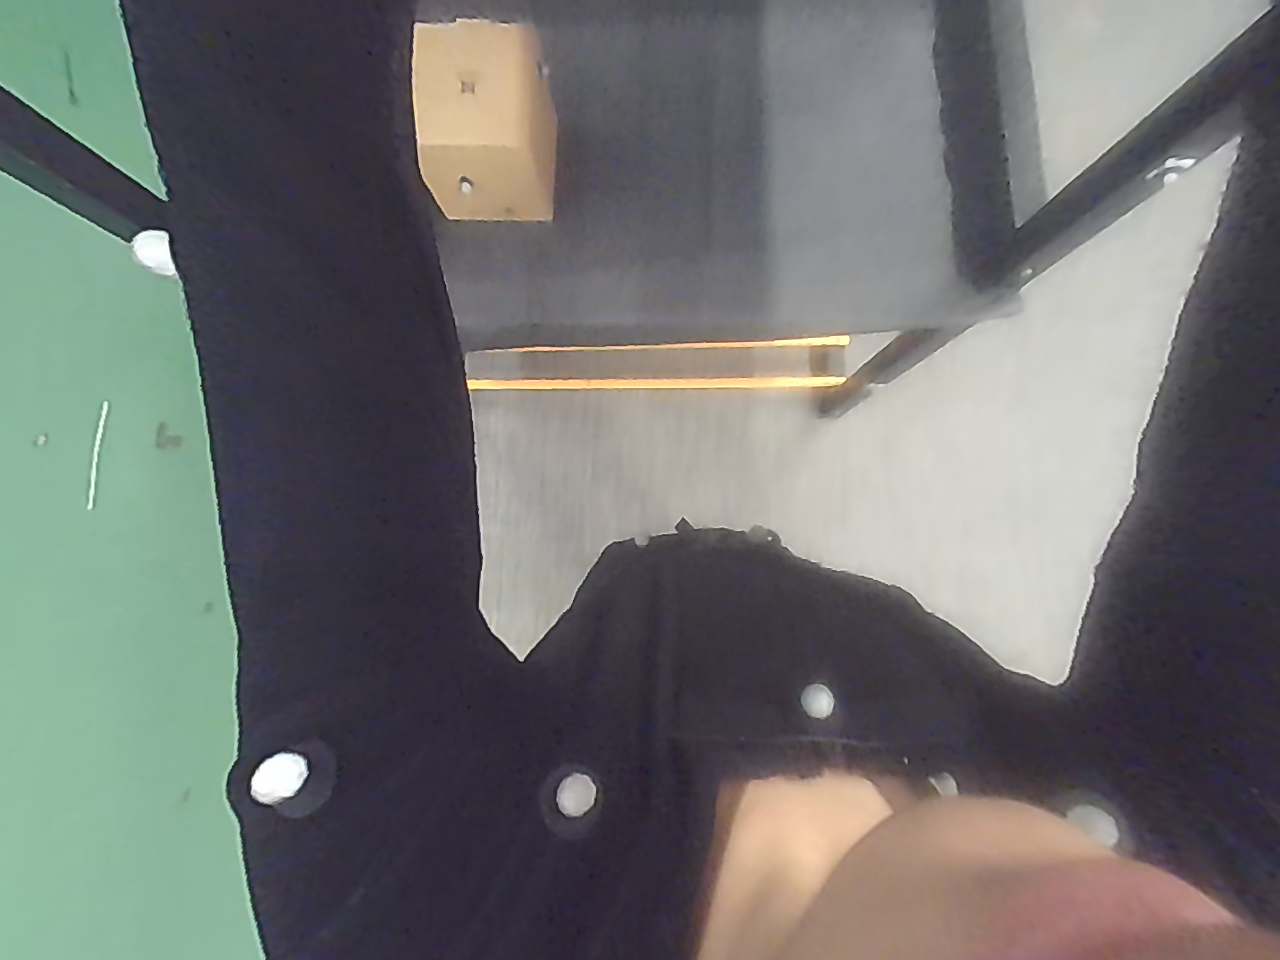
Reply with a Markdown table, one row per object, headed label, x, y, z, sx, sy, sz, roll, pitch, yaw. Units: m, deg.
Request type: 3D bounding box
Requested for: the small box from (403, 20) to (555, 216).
| label | x | y | z | sx | sy | sz | roll | pitch | yaw |
| --- | --- | --- | --- | --- | --- | --- | --- | --- | --- |
| small box | -0.218 | -0.505 | 0.777 | 0.168 | 0.176 | 0.179 | 1 | 82 | 1 |
